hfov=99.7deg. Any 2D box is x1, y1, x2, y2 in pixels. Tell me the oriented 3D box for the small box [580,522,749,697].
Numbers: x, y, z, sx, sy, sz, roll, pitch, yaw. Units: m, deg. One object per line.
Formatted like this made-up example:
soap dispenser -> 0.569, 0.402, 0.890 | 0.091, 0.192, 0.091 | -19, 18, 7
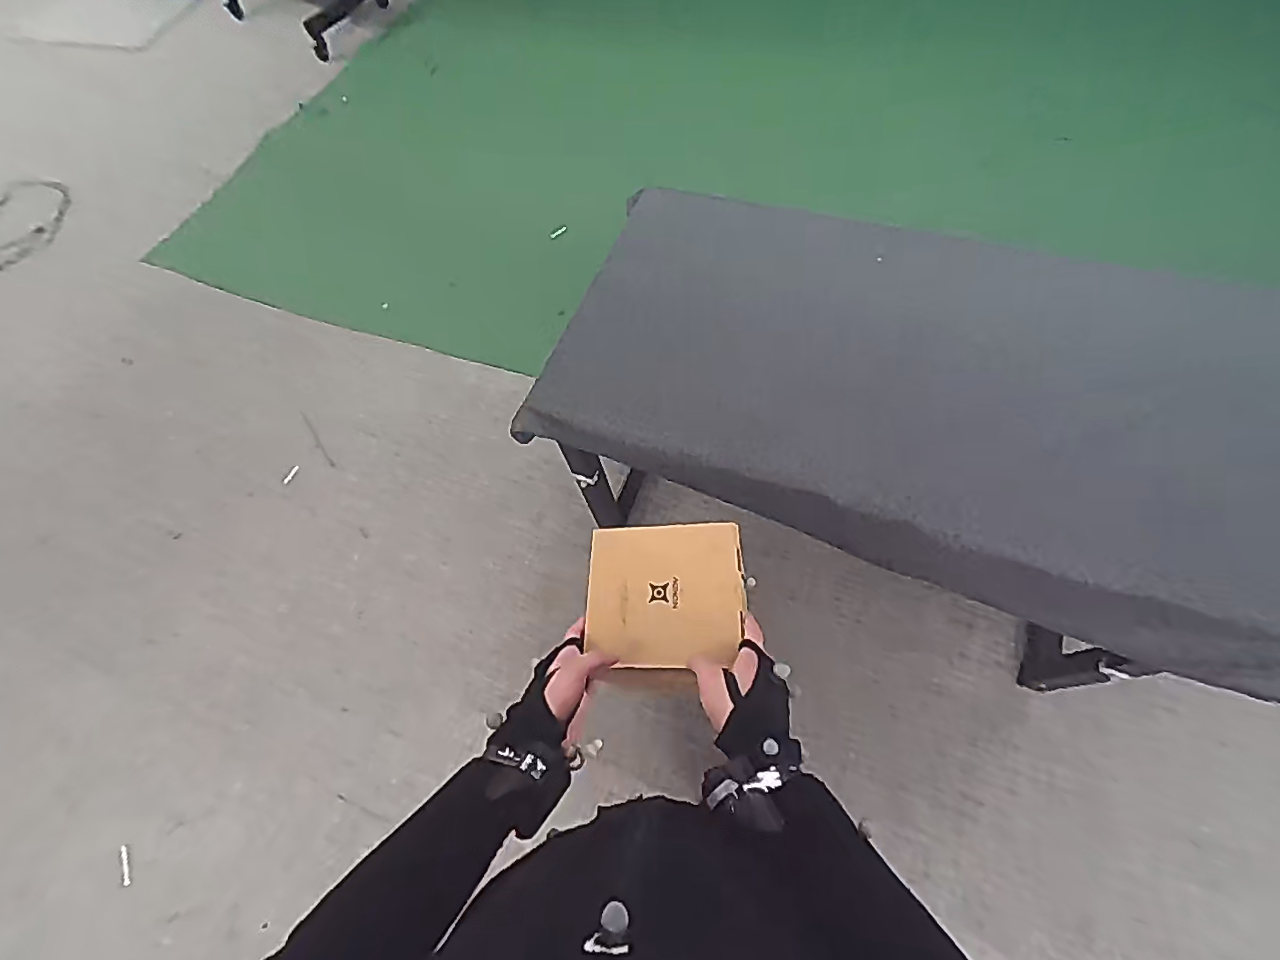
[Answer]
small box -> 0.042, 0.161, 0.658 | 0.179, 0.176, 0.168 | -3, 58, 12
